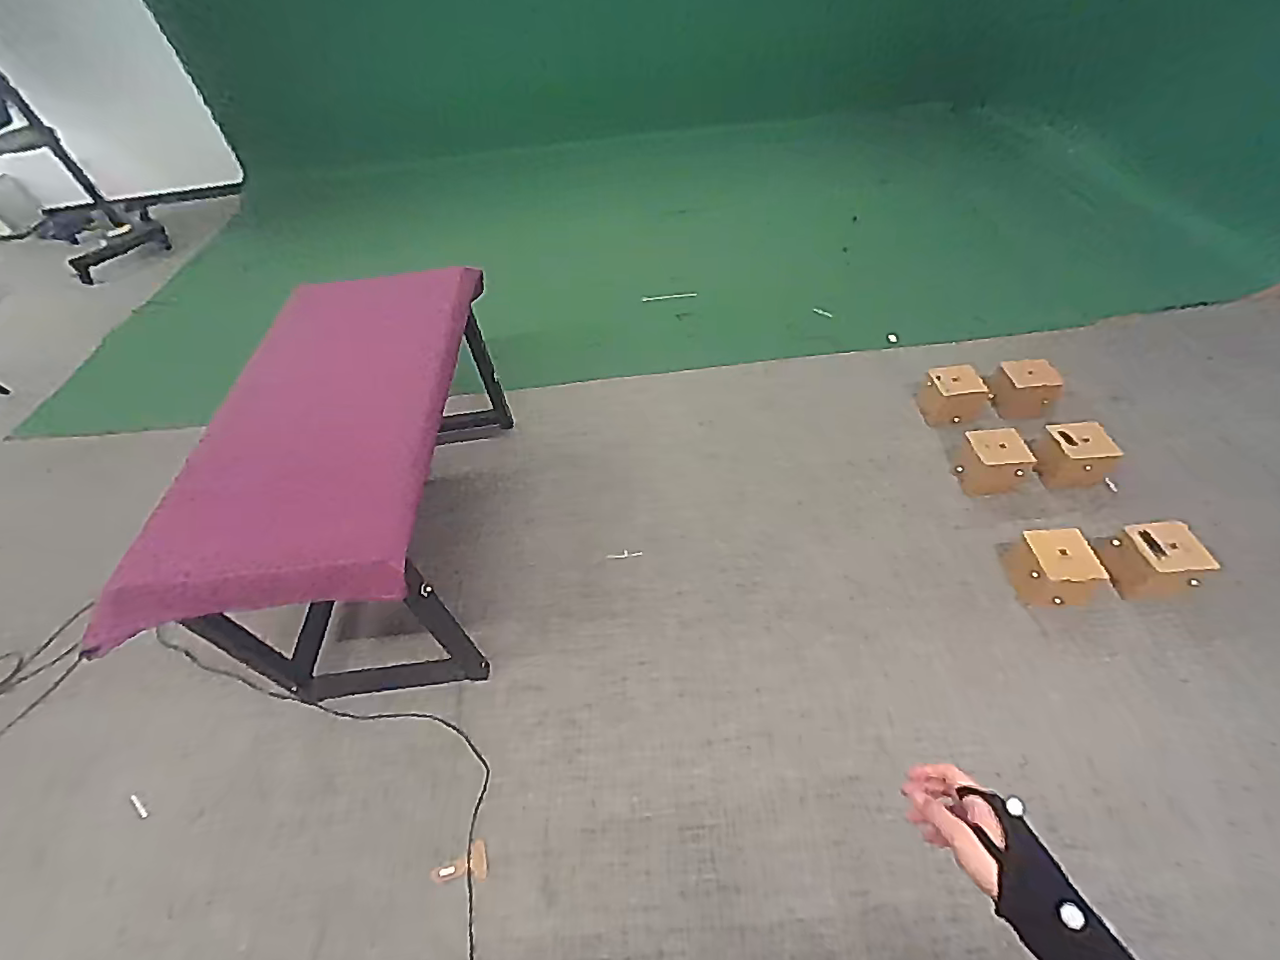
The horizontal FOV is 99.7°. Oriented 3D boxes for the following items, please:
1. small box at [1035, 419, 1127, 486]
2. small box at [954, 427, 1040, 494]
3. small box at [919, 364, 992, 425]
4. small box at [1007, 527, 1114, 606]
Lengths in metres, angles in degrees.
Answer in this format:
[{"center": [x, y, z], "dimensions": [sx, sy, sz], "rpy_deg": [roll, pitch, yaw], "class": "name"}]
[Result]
[{"center": [1.536, -0.091, 1.904], "dimensions": [0.179, 0.176, 0.168], "rpy_deg": [-4, 49, 4], "class": "small box"}, {"center": [1.260, -0.067, 1.922], "dimensions": [0.179, 0.176, 0.168], "rpy_deg": [-5, 49, 4], "class": "small box"}, {"center": [1.250, -0.338, 2.156], "dimensions": [0.179, 0.176, 0.168], "rpy_deg": [-5, 49, 2], "class": "small box"}, {"center": [1.262, 0.265, 1.641], "dimensions": [0.168, 0.176, 0.179], "rpy_deg": [-5, 50, 4], "class": "small box"}]
